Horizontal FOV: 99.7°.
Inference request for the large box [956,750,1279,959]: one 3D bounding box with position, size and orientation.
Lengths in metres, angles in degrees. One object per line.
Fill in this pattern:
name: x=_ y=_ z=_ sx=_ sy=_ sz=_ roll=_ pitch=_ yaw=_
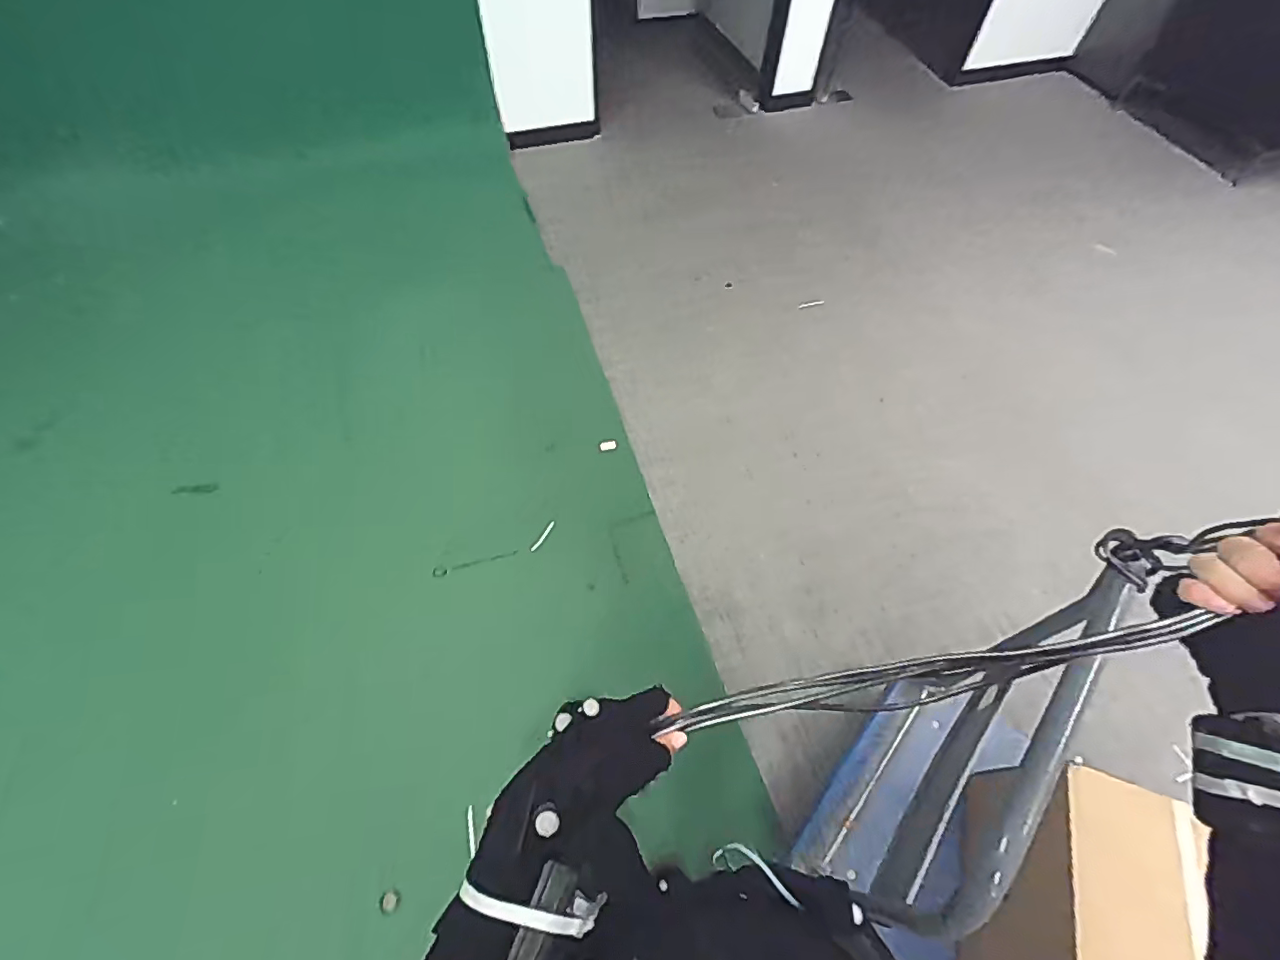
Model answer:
large box: x=0.750 y=0.721 z=0.881 sx=0.320 sy=0.320 sz=0.408 roll=18 pitch=59 yaw=9
